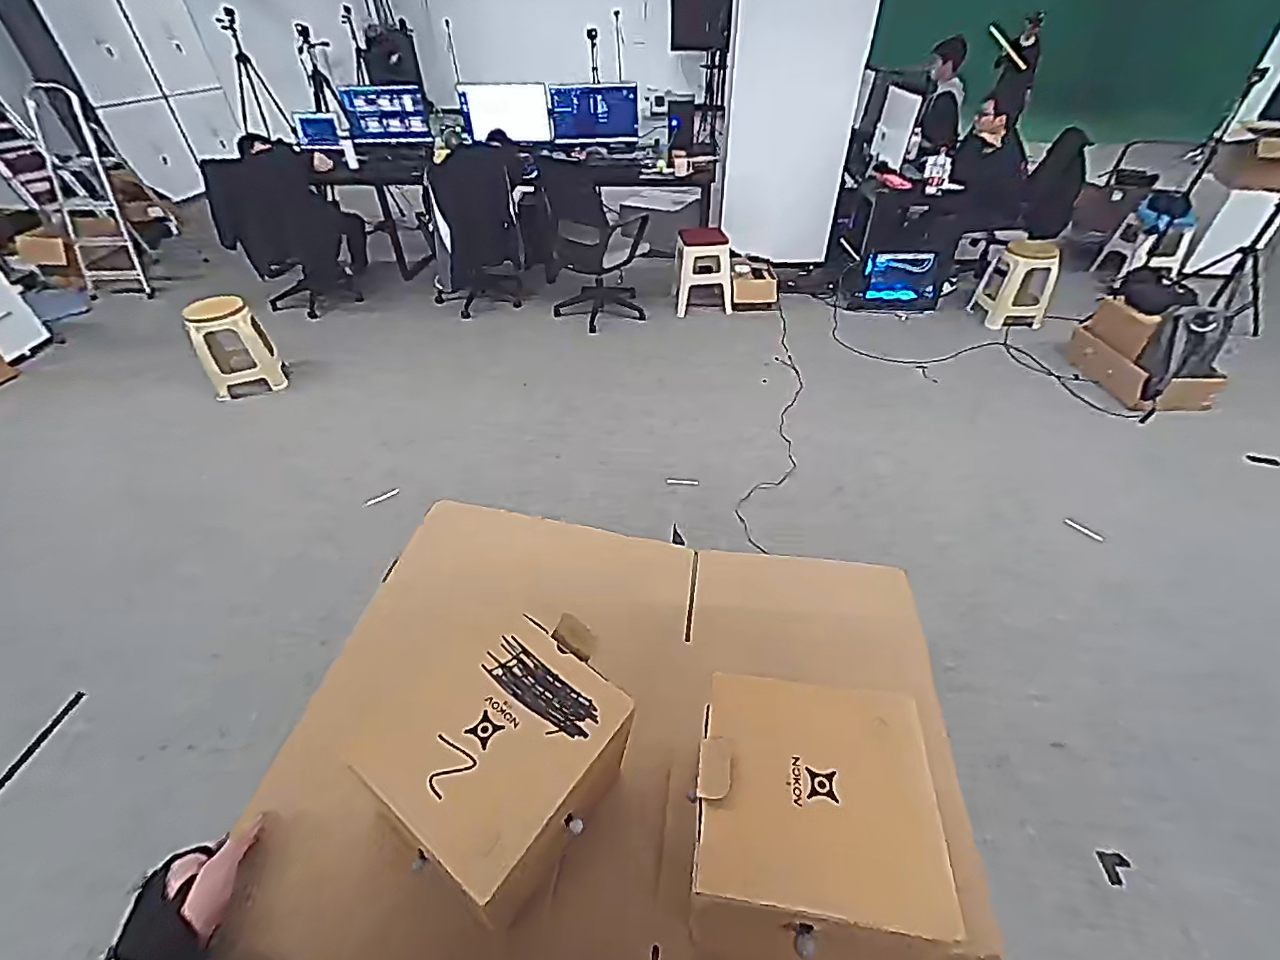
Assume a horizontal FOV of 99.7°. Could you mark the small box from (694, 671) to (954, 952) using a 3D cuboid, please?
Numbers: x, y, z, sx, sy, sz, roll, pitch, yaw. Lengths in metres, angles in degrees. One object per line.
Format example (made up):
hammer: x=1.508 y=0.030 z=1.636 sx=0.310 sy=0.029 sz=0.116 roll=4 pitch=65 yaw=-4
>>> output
small box: x=0.143 y=0.296 z=0.485 sx=0.179 sy=0.176 sz=0.168 roll=3 pitch=43 yaw=9
